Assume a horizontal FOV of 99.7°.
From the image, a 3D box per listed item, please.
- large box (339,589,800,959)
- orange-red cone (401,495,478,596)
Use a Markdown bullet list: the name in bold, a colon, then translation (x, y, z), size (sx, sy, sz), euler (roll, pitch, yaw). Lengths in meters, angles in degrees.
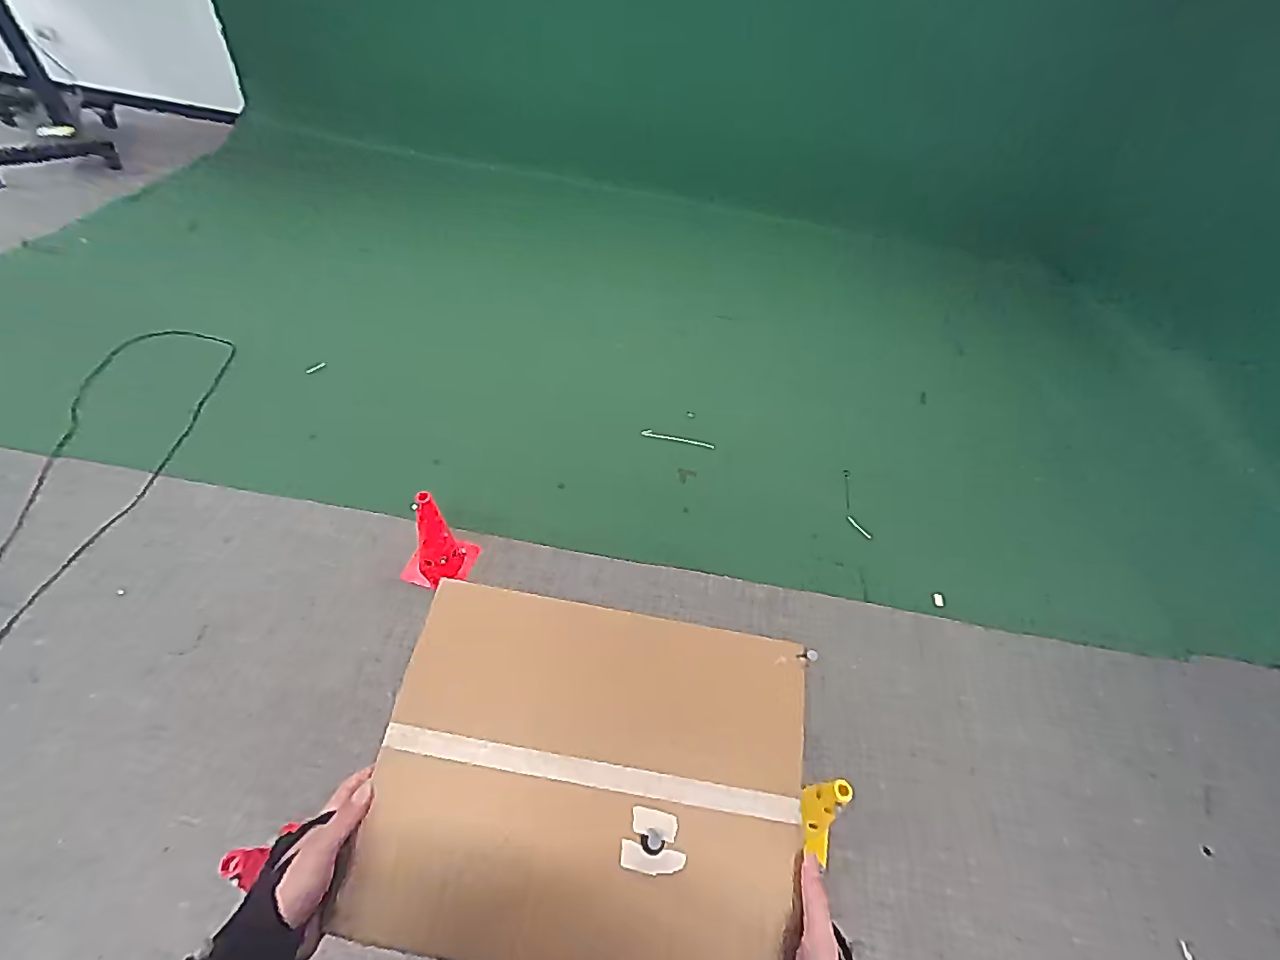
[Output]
- **large box**: translation (-0.053, 0.351, 0.658), size (0.408, 0.320, 0.320), euler (10, 63, 1)
- **orange-red cone**: translation (-0.651, 0.175, 1.683), size (0.199, 0.360, 0.198), euler (15, 48, 6)
